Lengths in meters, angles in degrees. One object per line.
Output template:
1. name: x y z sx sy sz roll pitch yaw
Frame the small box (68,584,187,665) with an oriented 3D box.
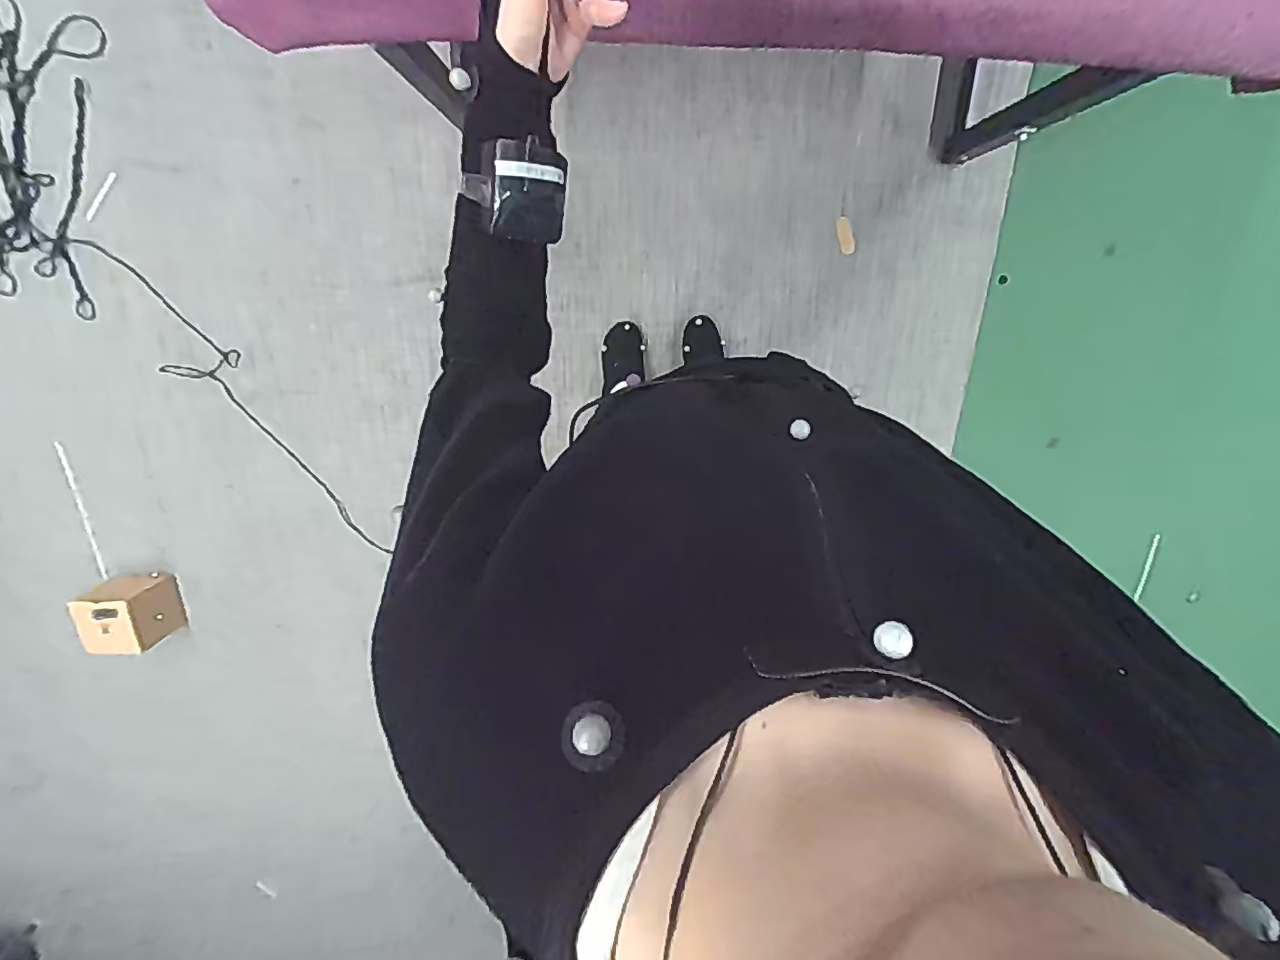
1. small box: -1.492 0.418 1.586 0.168 0.176 0.179 0 109 1
